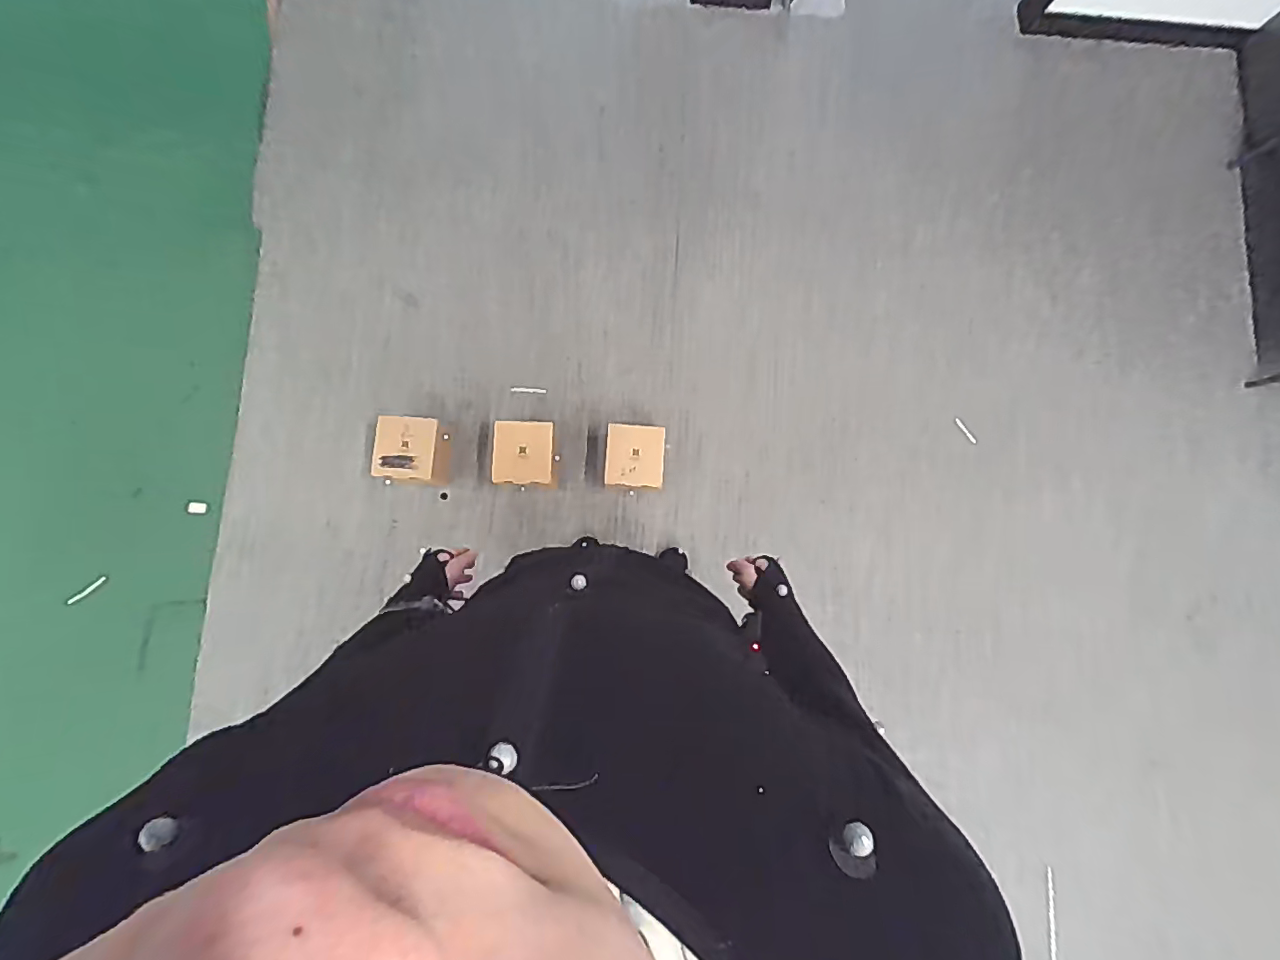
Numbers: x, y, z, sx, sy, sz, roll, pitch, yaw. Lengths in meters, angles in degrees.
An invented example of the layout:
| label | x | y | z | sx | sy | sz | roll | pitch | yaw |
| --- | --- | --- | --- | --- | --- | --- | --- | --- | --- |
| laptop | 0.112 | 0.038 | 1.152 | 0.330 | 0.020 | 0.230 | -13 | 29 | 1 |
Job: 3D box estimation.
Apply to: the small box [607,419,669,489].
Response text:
| label | x | y | z | sx | sy | sz | roll | pitch | yaw |
| --- | --- | --- | --- | --- | --- | --- | --- | --- | --- |
| small box | -0.009 | -0.072 | 1.608 | 0.168 | 0.176 | 0.179 | 4 | 84 | -1 |

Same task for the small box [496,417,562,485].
| label | x | y | z | sx | sy | sz | roll | pitch | yaw |
| --- | --- | --- | --- | --- | --- | --- | --- | --- | --- |
| small box | -0.323 | -0.081 | 1.601 | 0.168 | 0.176 | 0.179 | 2 | 85 | -2 |
